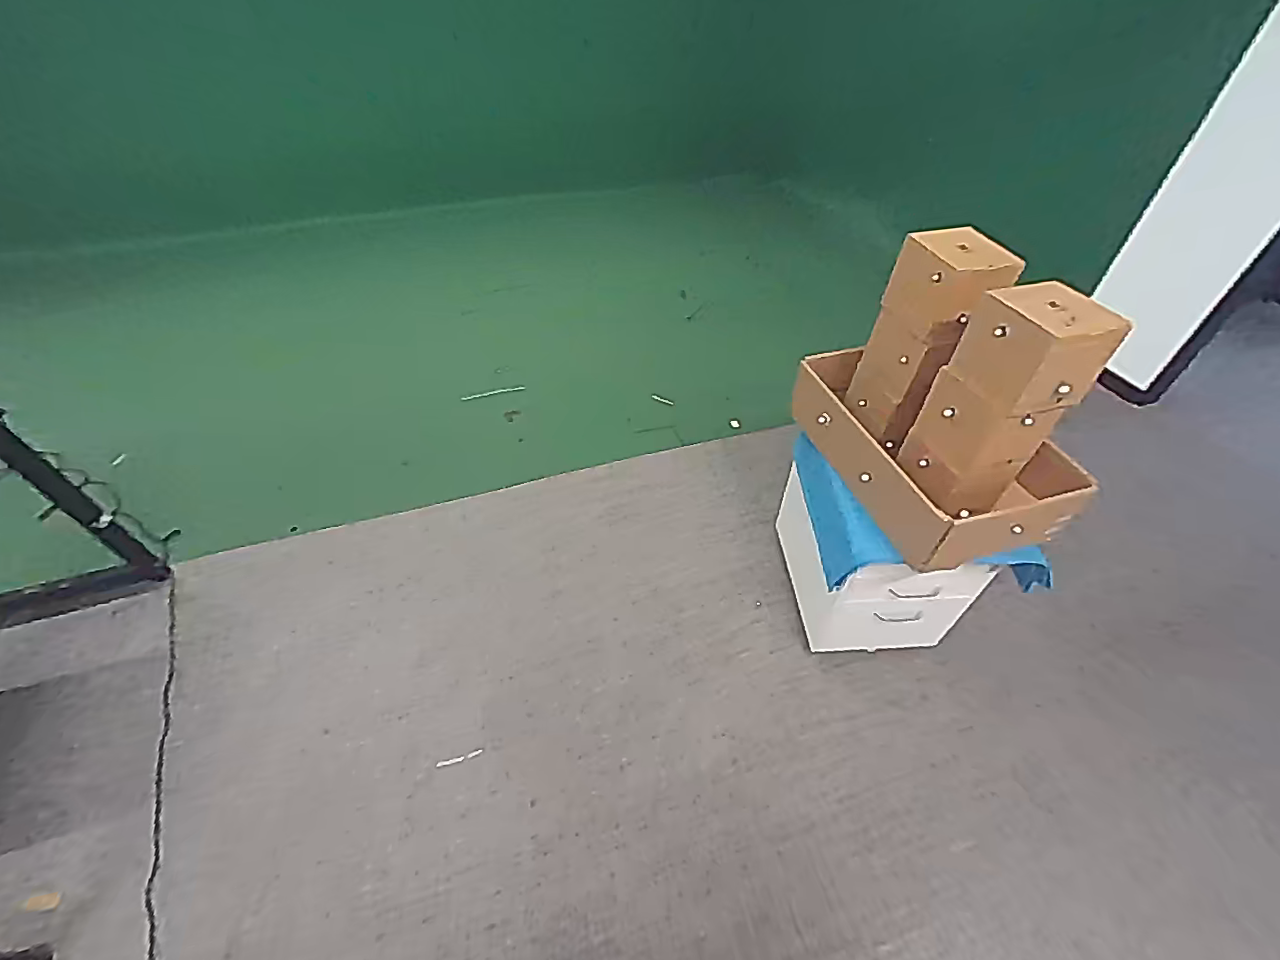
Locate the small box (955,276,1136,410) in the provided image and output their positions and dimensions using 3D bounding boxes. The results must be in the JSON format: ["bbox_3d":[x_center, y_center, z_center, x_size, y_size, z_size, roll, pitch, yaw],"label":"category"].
[{"bbox_3d":[0.733,-0.255,1.006,0.168,0.176,0.179,-12,47,-10],"label":"small box"}]

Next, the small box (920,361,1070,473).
[{"bbox_3d":[0.727,-0.142,1.128,0.168,0.176,0.179,-13,46,-11],"label":"small box"}]
